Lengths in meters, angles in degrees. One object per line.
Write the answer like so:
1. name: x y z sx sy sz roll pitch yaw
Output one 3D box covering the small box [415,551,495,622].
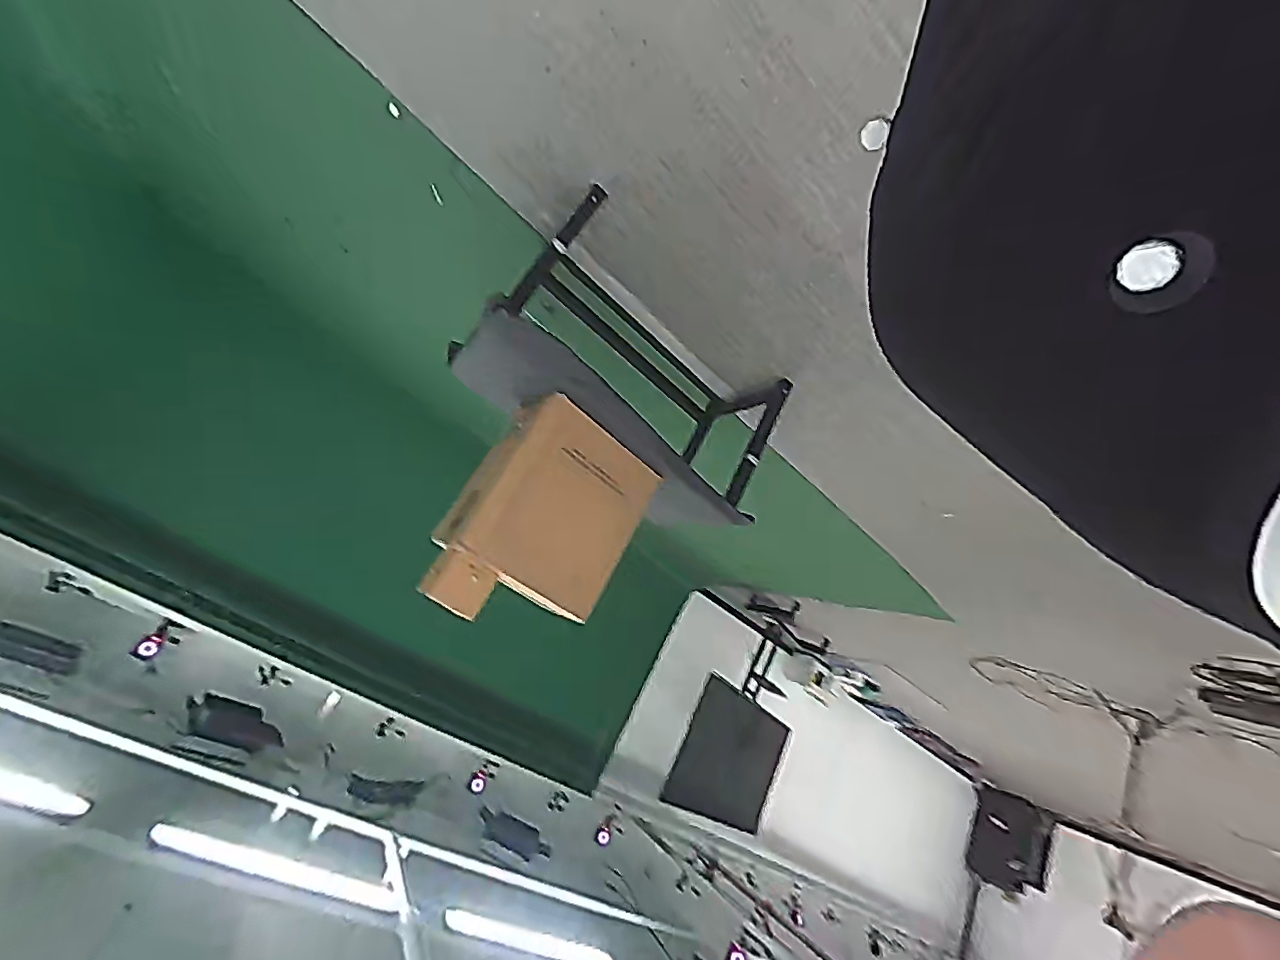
1. small box: -0.617 0.352 1.814 0.168 0.176 0.179 41 154 -26
